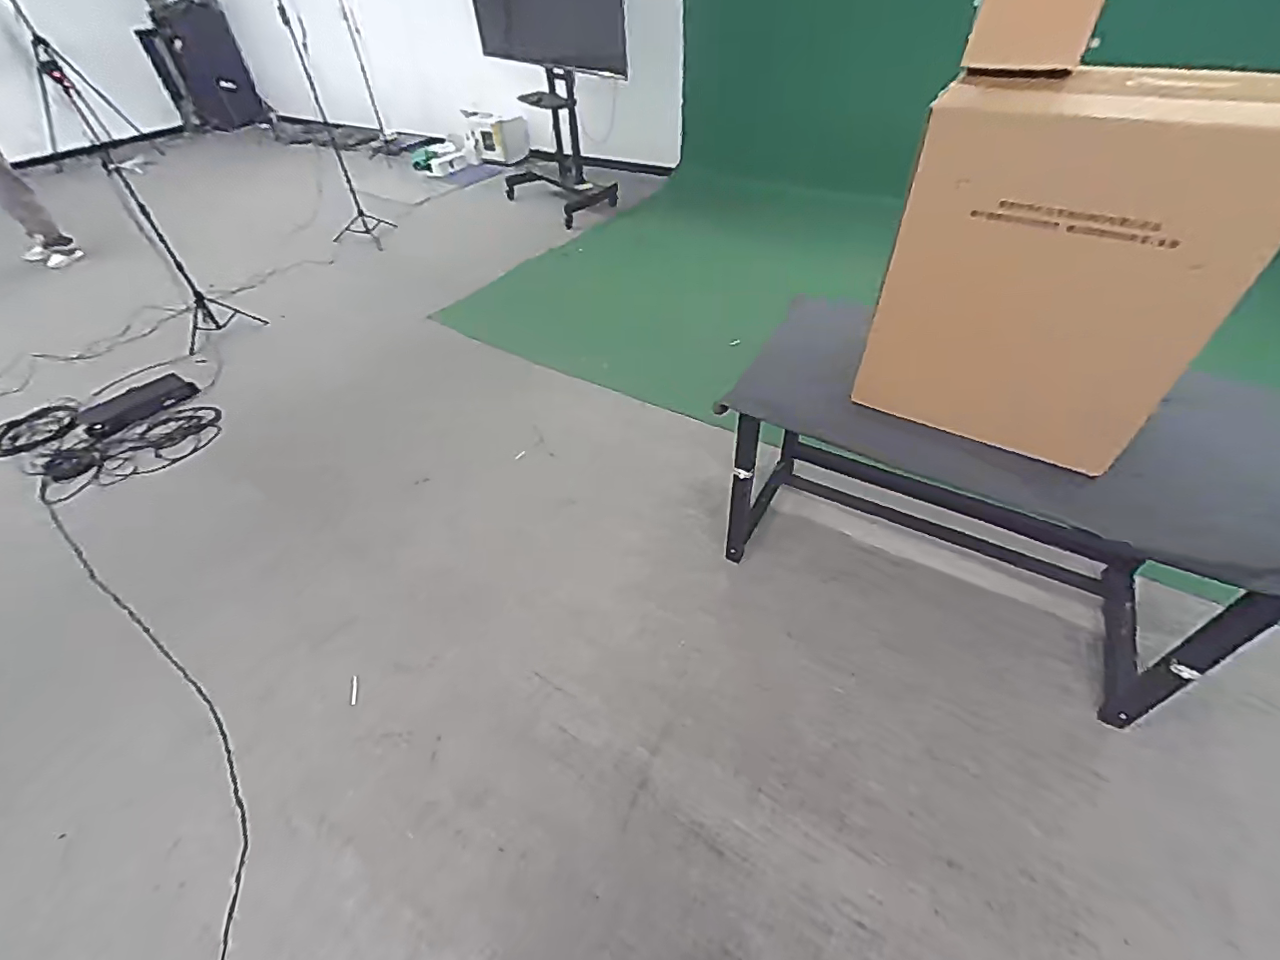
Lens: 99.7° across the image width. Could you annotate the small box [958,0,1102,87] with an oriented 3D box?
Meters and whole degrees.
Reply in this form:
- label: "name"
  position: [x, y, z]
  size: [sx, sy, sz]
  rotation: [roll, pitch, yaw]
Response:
- label: "small box"
  position: [0.686, -0.796, 0.943]
  size: [0.179, 0.176, 0.168]
  rotation: [23, 43, 23]
